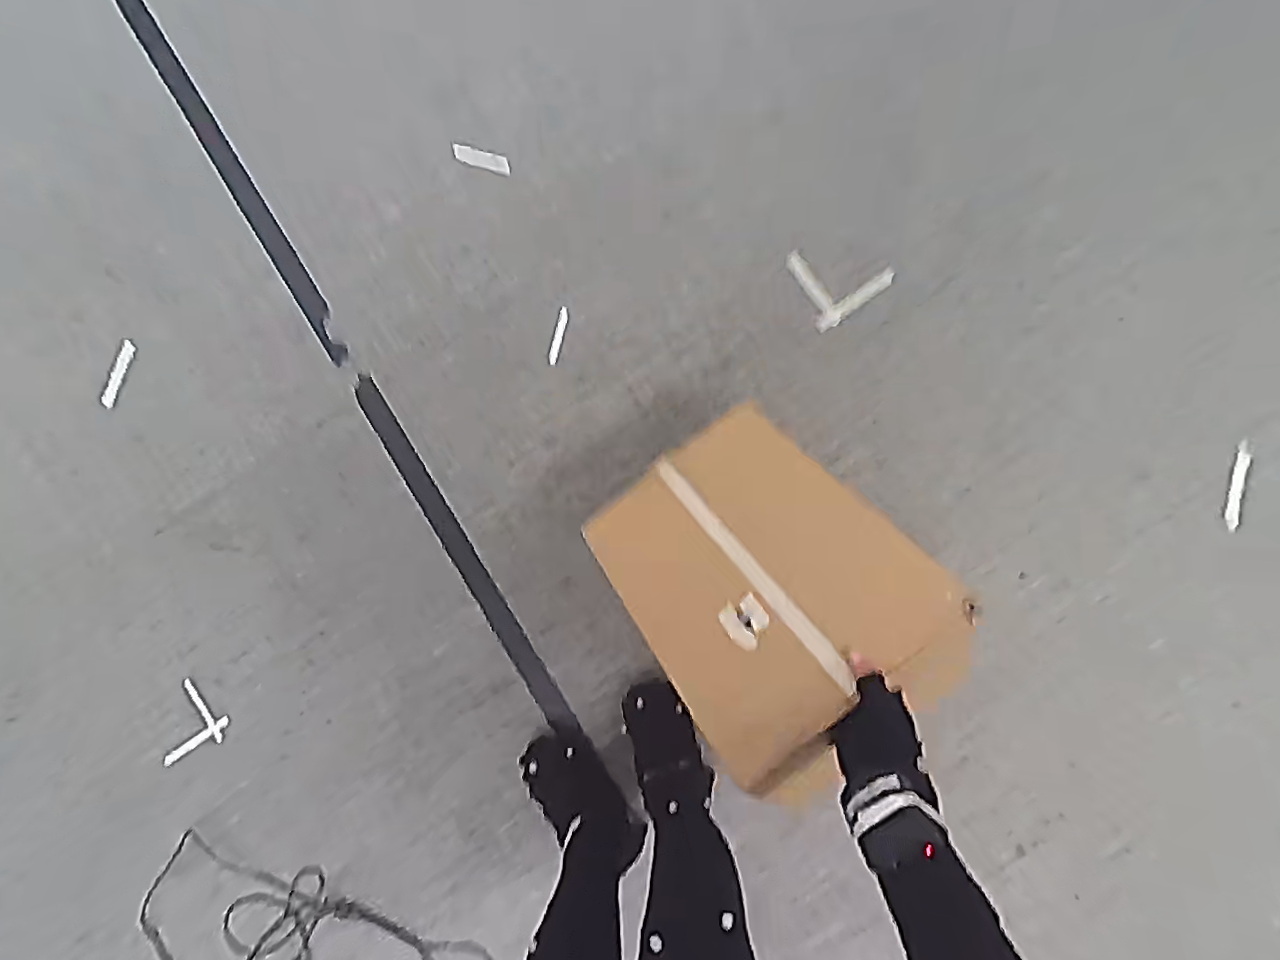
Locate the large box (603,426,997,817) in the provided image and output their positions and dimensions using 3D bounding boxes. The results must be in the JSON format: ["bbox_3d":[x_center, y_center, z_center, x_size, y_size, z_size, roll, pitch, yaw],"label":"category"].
[{"bbox_3d":[0.211,0.199,0.795,0.320,0.320,0.408,-38,49,-1],"label":"large box"}]
